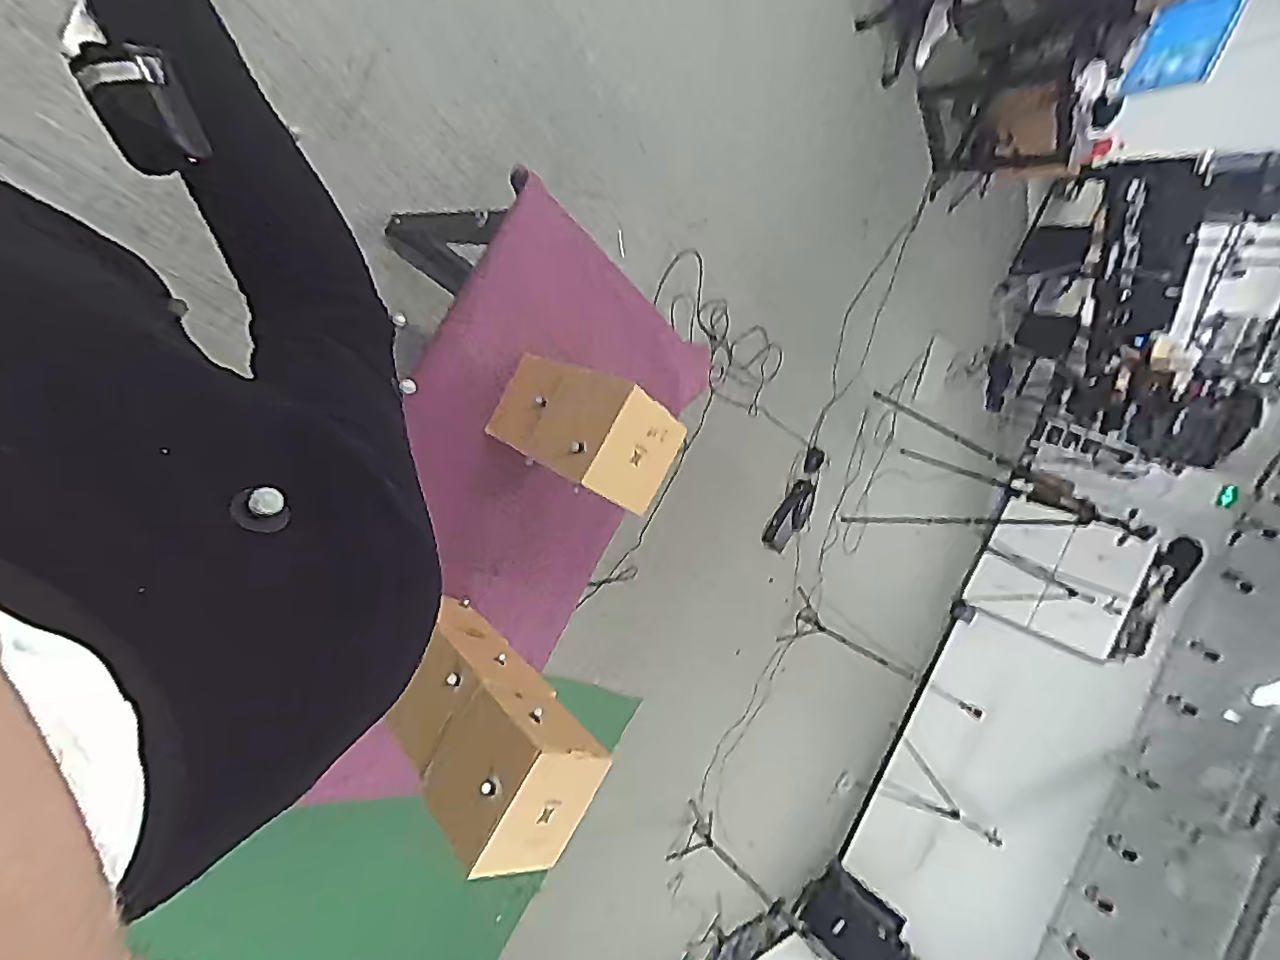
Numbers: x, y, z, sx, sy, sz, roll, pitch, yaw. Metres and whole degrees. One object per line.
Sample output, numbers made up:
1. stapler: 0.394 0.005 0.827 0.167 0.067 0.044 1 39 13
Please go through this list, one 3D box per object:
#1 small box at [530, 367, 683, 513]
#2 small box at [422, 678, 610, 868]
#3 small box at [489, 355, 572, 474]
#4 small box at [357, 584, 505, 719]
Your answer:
1. small box: -0.064 -0.072 0.934 0.168 0.176 0.179 33 83 -49
2. small box: -0.184 0.418 0.792 0.179 0.176 0.168 -58 138 -8
3. small box: -0.167 -0.120 1.054 0.168 0.176 0.179 31 85 -48
4. small box: -0.398 0.320 1.021 0.168 0.176 0.179 37 81 -48
